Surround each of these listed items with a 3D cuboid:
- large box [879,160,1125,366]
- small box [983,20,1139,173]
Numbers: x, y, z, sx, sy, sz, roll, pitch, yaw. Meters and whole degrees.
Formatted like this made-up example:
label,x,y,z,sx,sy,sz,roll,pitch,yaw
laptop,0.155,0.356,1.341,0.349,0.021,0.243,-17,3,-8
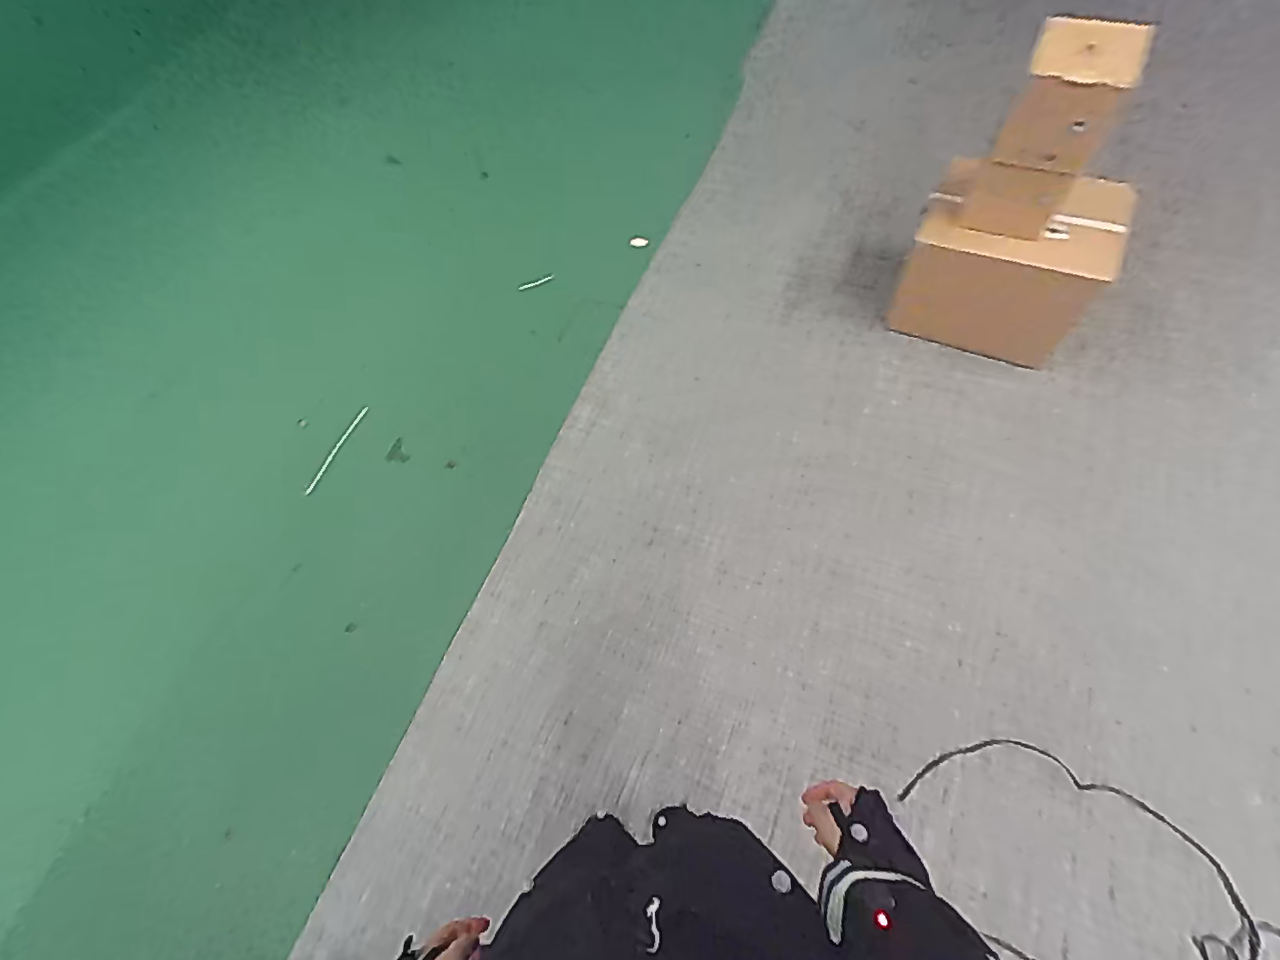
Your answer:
label,x,y,z,sx,sy,sz,roll,pitch,yaw
large box,0.892,-0.548,1.384,0.408,0.320,0.320,22,71,17
small box,0.788,-0.724,1.029,0.168,0.176,0.179,22,69,16
